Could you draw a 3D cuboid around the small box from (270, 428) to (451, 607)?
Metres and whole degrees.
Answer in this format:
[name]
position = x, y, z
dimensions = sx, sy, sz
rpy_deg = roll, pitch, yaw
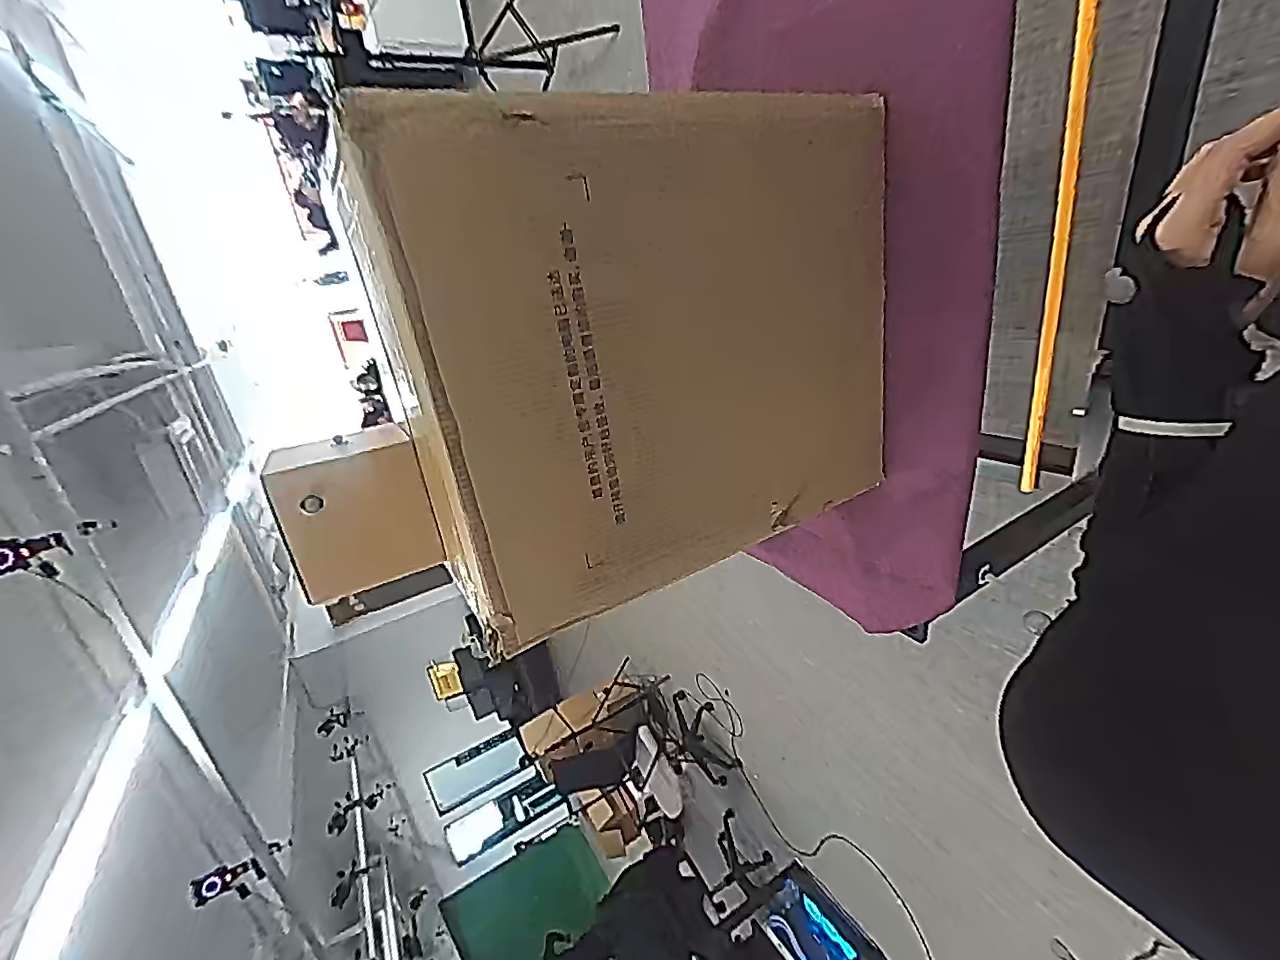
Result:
[small box]
position = -0.374, 0.036, 0.738
dimensions = 0.168, 0.176, 0.179
rpy_deg = 25, 128, 58
